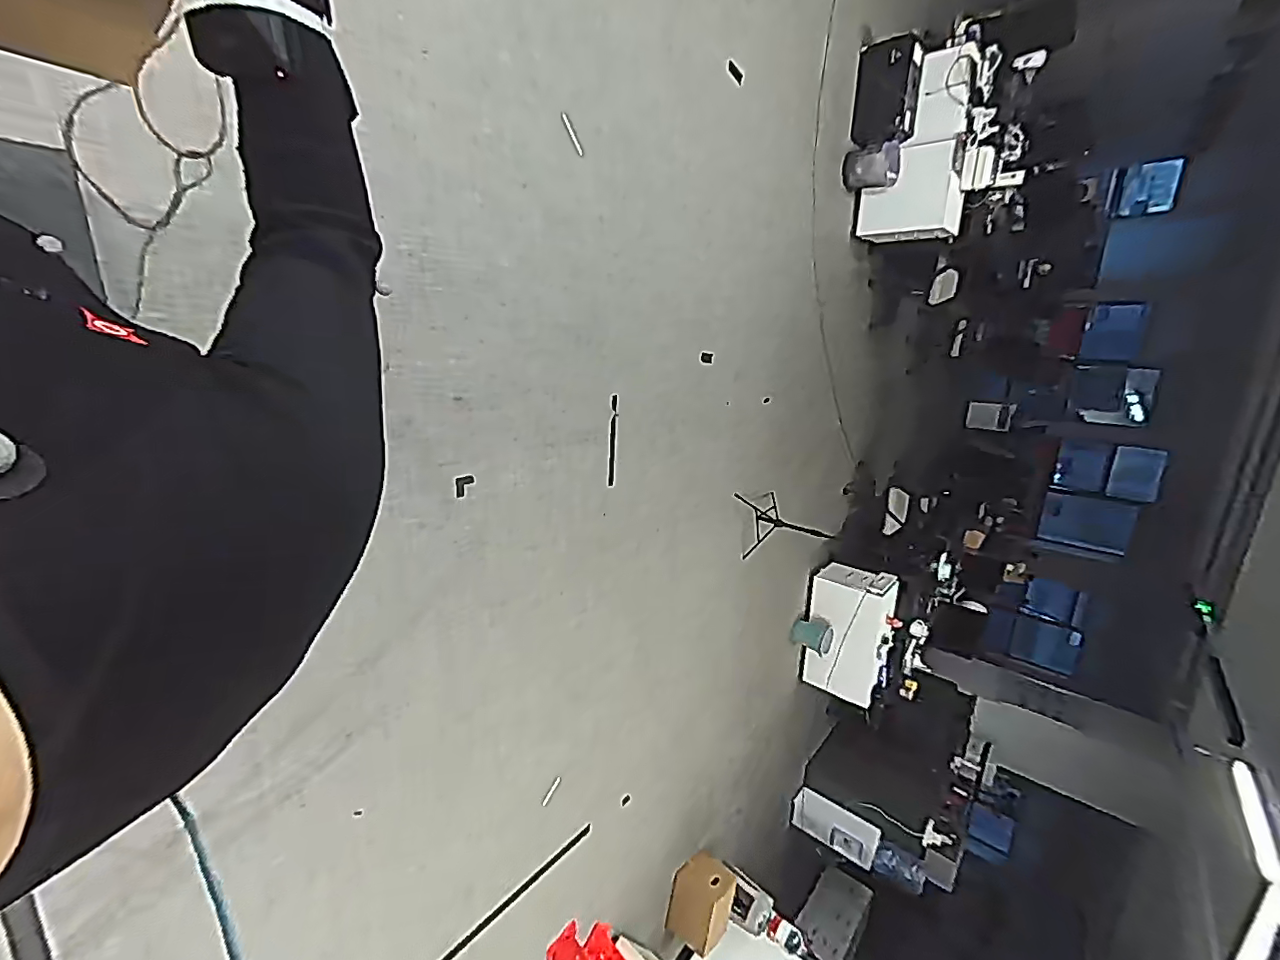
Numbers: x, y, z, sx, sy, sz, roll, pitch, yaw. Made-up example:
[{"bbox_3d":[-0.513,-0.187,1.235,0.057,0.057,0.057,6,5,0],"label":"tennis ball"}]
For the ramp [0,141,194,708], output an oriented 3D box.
[{"bbox_3d":[-1.186,-0.085,0.925,0.509,0.206,0.991,-17,114,-46],"label":"ramp"}]
